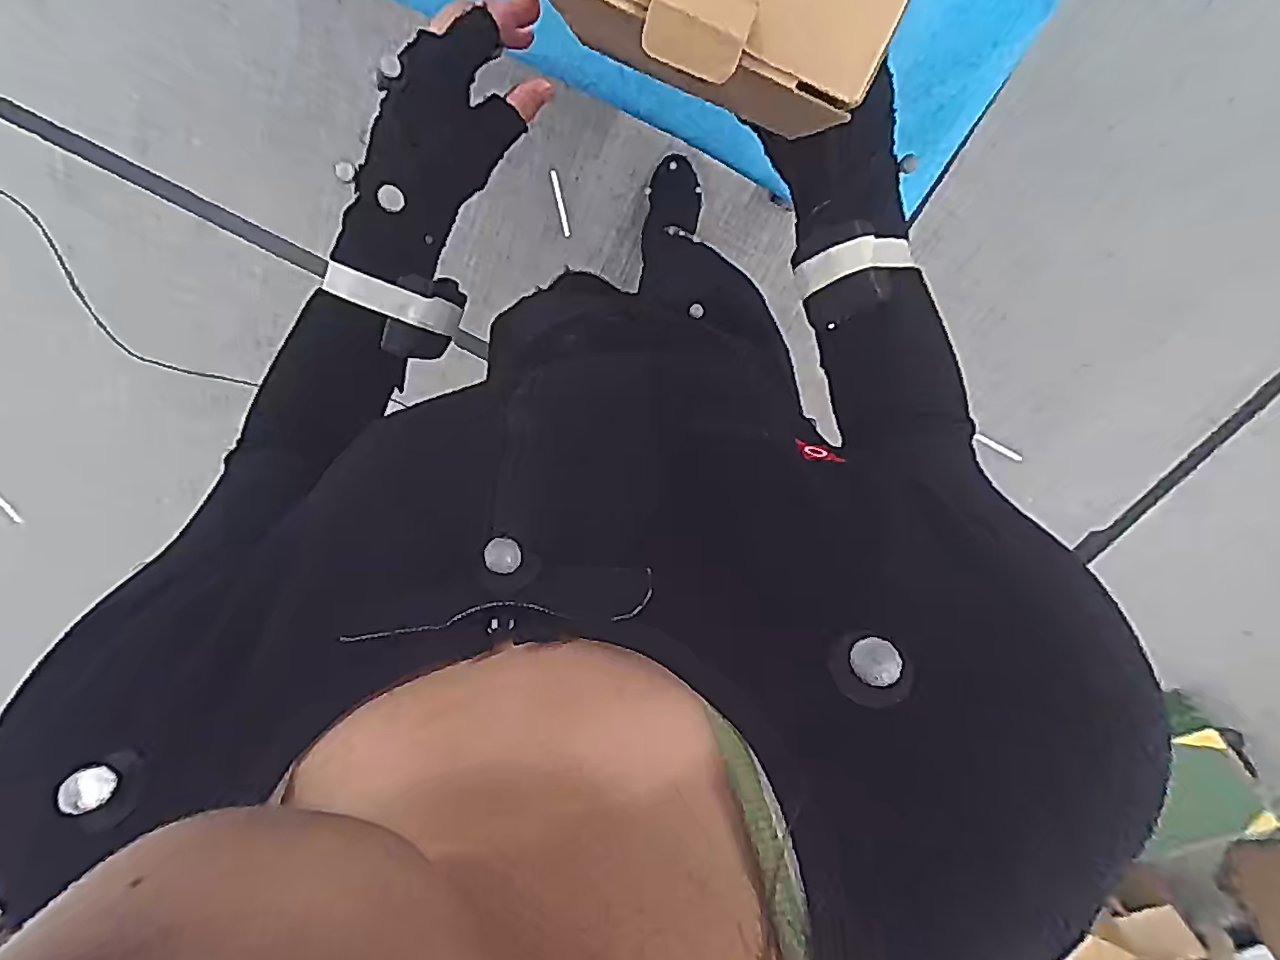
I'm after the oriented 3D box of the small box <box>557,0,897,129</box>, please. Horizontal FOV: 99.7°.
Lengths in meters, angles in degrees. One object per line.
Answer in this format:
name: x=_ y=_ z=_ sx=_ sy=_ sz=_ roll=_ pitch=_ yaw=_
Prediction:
small box: x=0.058 y=-0.316 z=0.282 sx=0.168 sy=0.179 sz=0.176 roll=20 pitch=118 yaw=-7
